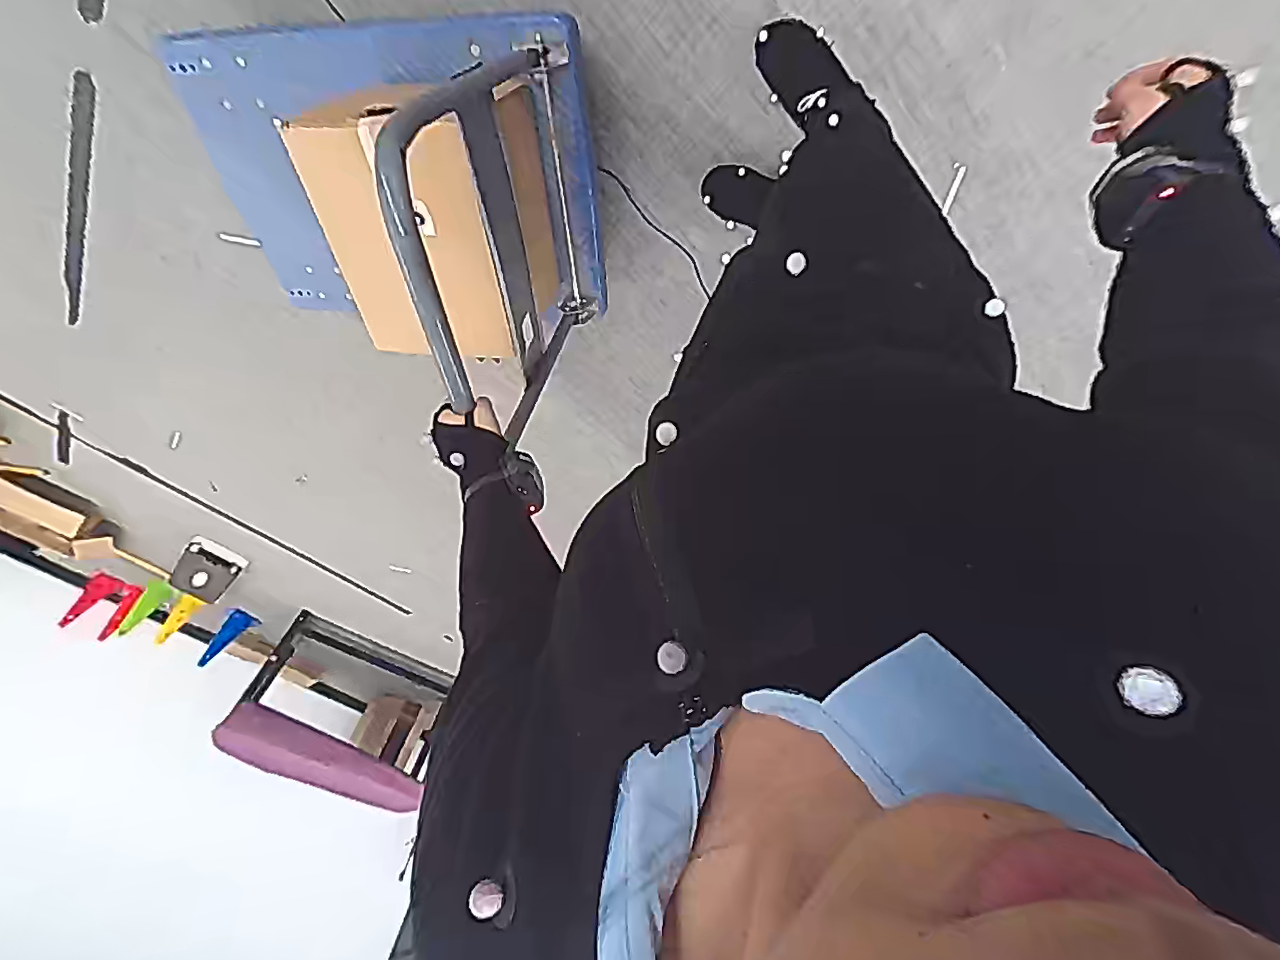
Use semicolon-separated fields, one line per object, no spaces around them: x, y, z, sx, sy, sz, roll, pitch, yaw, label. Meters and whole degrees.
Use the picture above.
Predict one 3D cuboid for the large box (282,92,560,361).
-0.375;-0.493;1.063;0.320;0.320;0.408;5;134;9;large box
